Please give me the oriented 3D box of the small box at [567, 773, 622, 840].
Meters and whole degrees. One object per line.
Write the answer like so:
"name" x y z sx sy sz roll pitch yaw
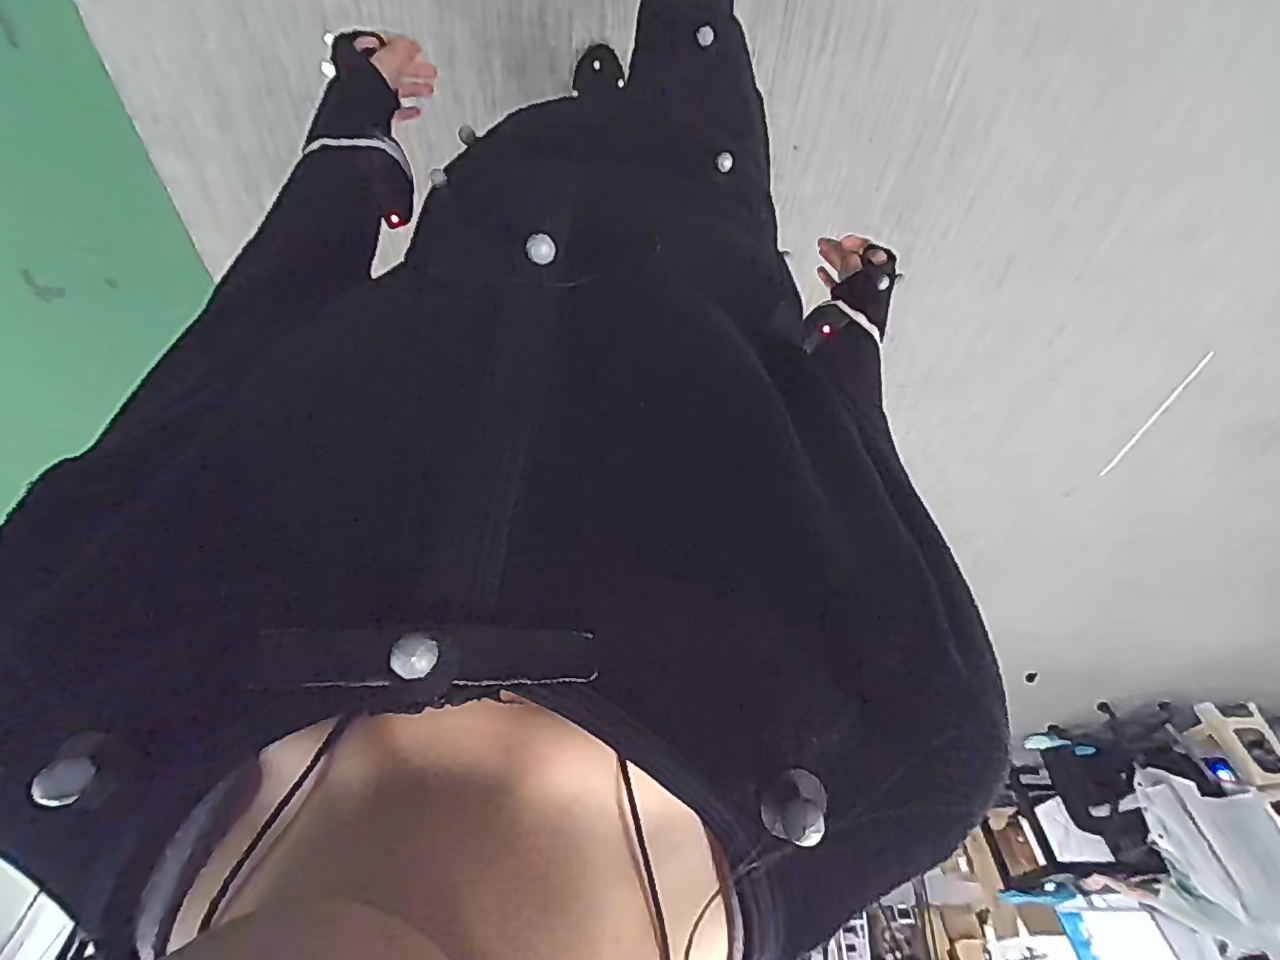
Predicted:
"small box" -0.156 1.134 1.881 0.179 0.176 0.168 4 135 -4

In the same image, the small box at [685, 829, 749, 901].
"small box" 0.247 1.270 1.788 0.179 0.176 0.168 5 135 -4
